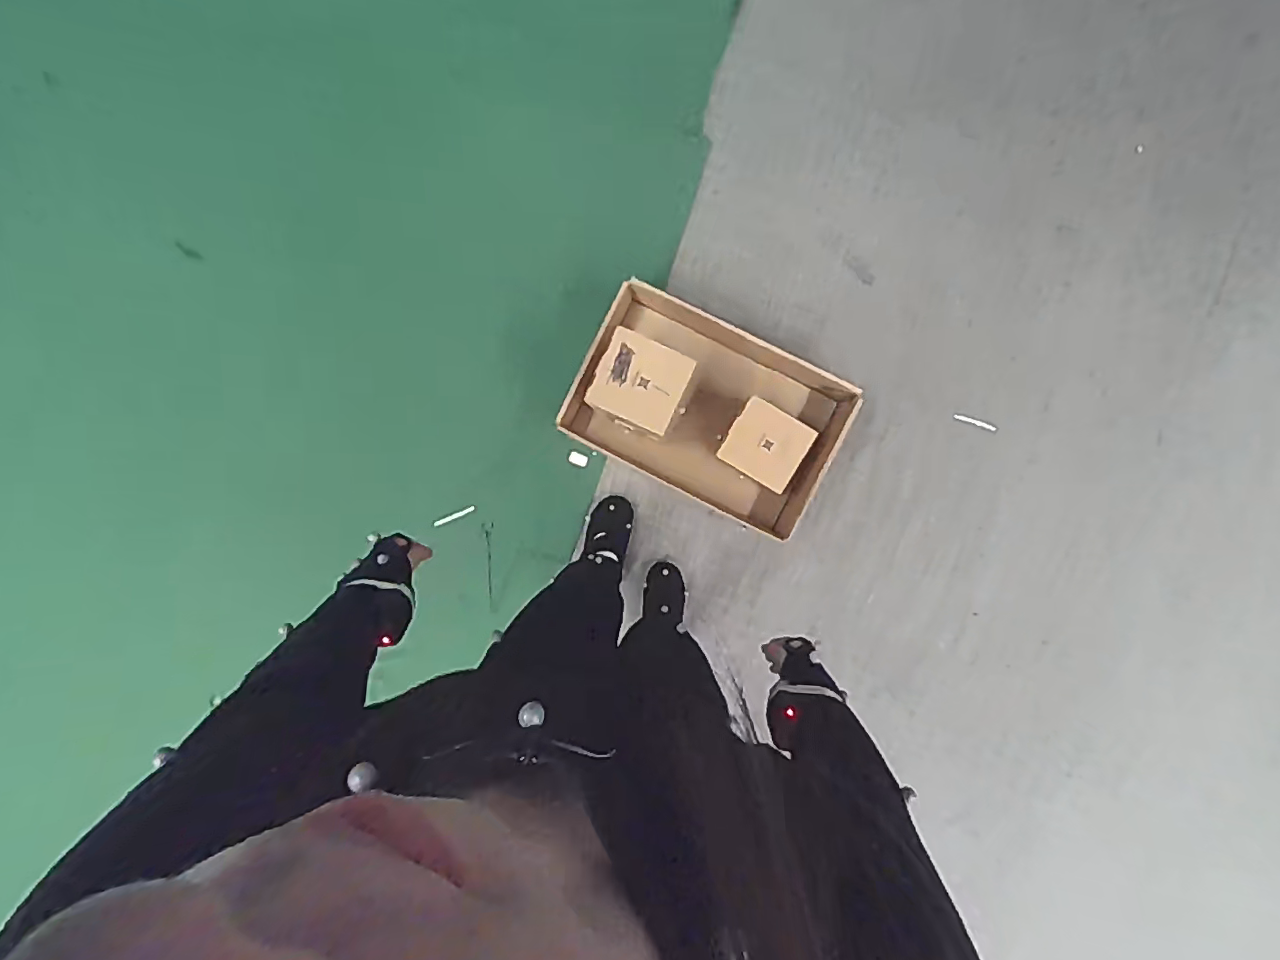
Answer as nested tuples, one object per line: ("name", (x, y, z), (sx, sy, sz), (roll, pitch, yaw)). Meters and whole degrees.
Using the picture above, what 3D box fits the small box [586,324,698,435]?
("small box", (0.006, -0.202, 1.148), (0.179, 0.176, 0.168), (25, 93, 0))
